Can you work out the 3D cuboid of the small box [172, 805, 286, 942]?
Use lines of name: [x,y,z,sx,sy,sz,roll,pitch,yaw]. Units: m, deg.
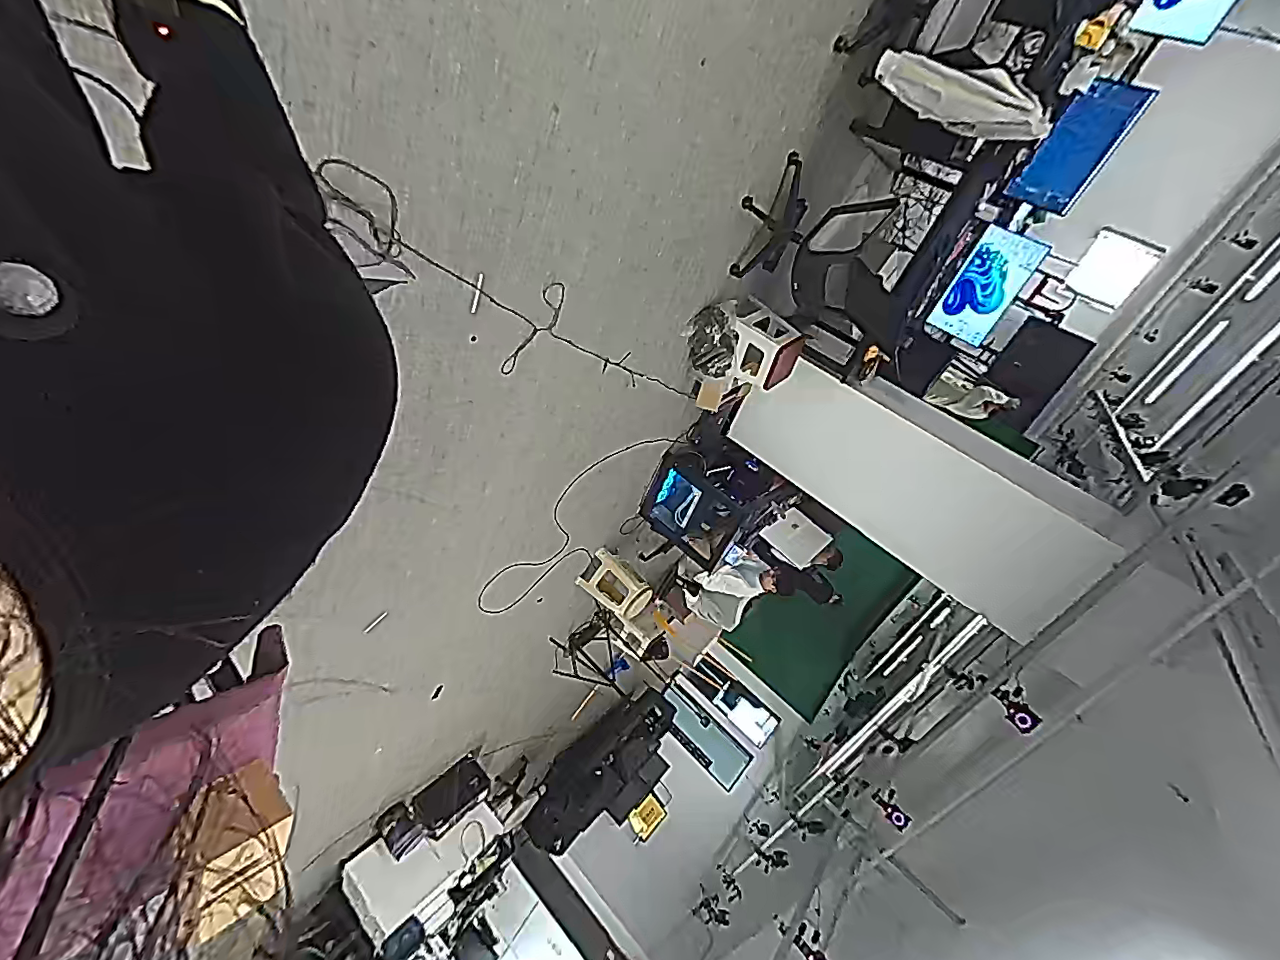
small box: [-0.981,0.925,1.287,0.168,0.176,0.179,-16,138,-54]
